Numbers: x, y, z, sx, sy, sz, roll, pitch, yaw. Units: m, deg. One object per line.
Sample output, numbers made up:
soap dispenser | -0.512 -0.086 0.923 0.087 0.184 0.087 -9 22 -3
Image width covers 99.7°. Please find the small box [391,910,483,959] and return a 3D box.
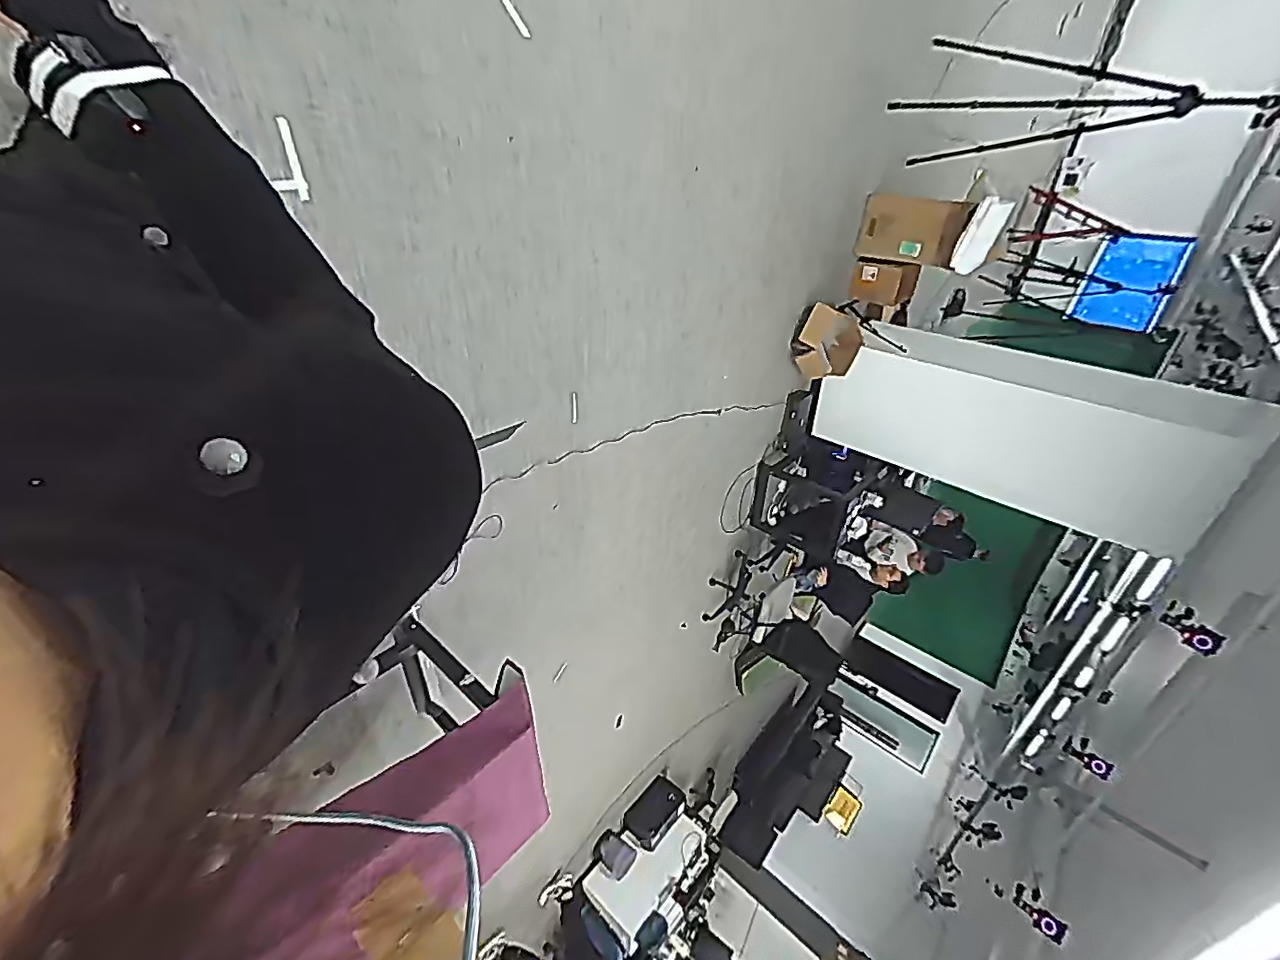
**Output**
small box | -0.504 1.229 1.336 0.179 0.176 0.168 -27 132 -42
